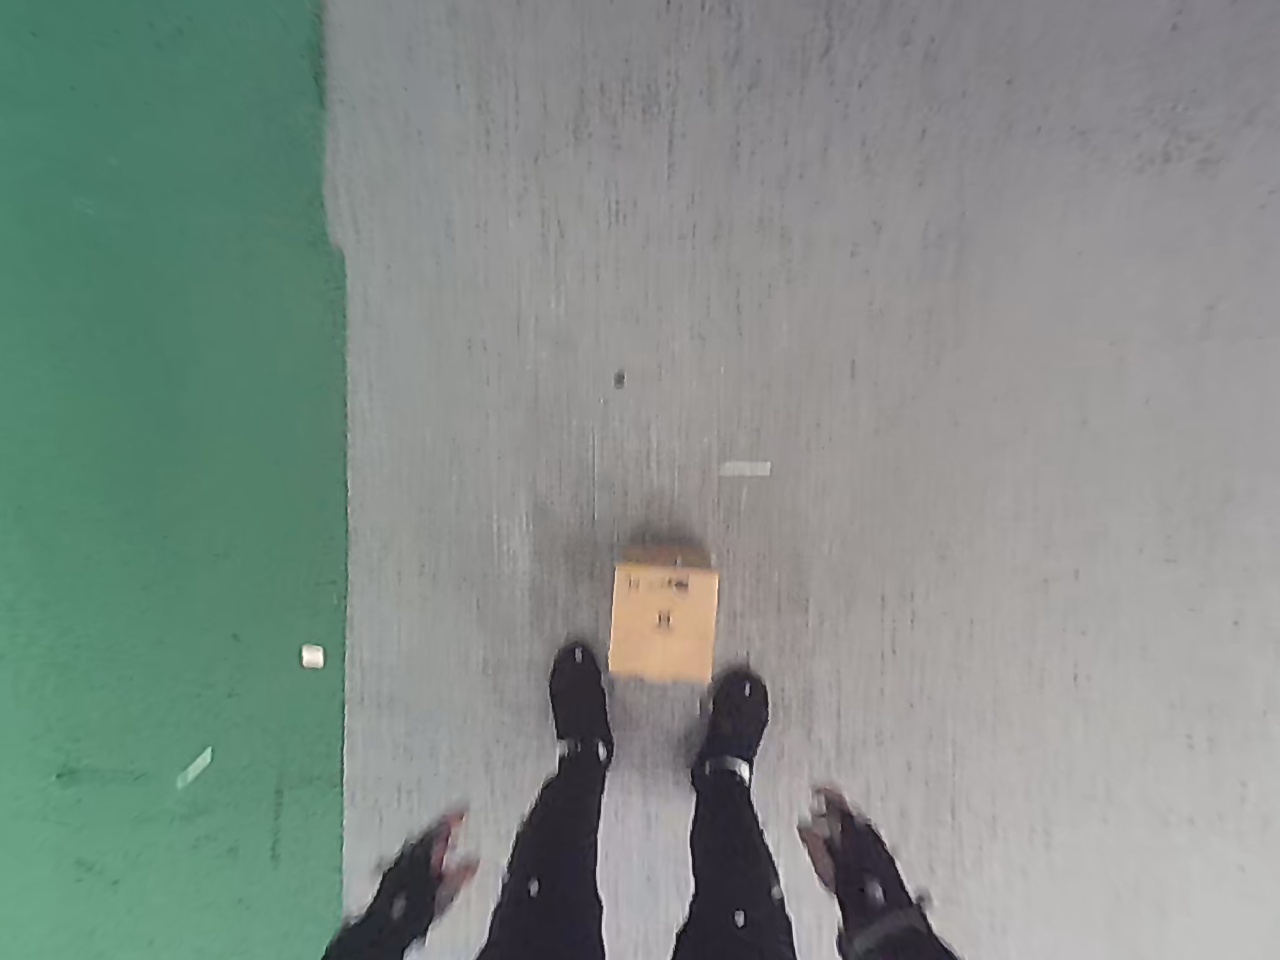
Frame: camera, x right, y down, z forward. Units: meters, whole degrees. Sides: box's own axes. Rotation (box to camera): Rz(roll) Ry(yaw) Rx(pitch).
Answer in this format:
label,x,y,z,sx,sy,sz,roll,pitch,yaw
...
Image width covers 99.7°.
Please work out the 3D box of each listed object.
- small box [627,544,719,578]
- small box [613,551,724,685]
label,x,y,z,sx,sy,sz,roll,pitch,yaw
small box,0.059,0.226,1.102,0.179,0.176,0.168,5,91,2
small box,0.048,0.230,0.939,0.168,0.176,0.179,5,92,2
